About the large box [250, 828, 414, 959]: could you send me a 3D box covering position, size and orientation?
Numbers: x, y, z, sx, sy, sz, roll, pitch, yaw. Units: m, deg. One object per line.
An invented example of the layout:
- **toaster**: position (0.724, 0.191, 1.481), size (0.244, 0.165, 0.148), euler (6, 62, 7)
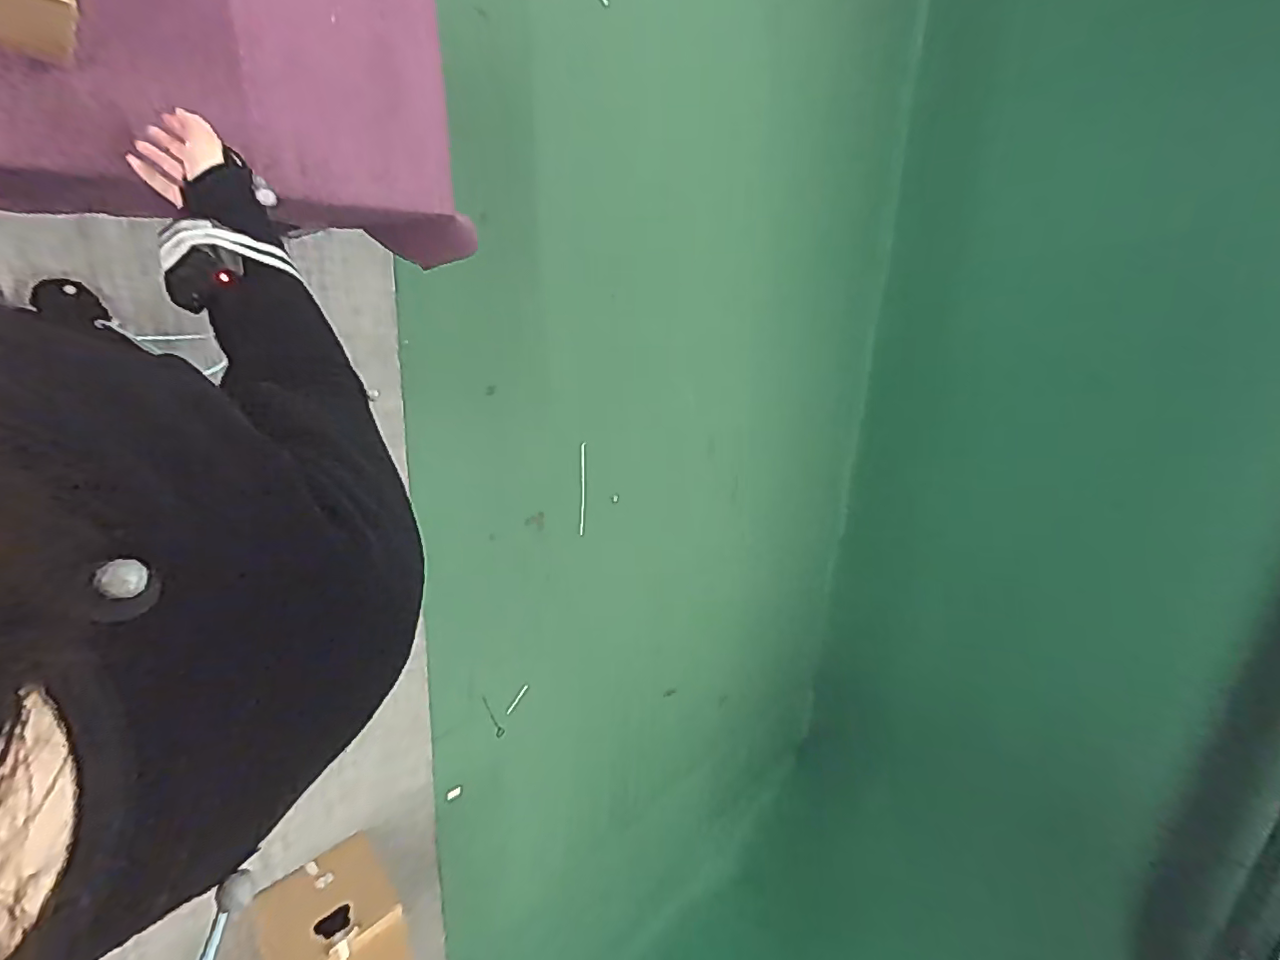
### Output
- **large box**: position (-0.898, 1.362, 1.599), size (0.320, 0.320, 0.408), euler (-16, 116, -43)

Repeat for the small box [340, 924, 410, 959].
- **small box**: position (-0.709, 1.350, 1.430), size (0.179, 0.176, 0.168), euler (-19, 118, -44)
